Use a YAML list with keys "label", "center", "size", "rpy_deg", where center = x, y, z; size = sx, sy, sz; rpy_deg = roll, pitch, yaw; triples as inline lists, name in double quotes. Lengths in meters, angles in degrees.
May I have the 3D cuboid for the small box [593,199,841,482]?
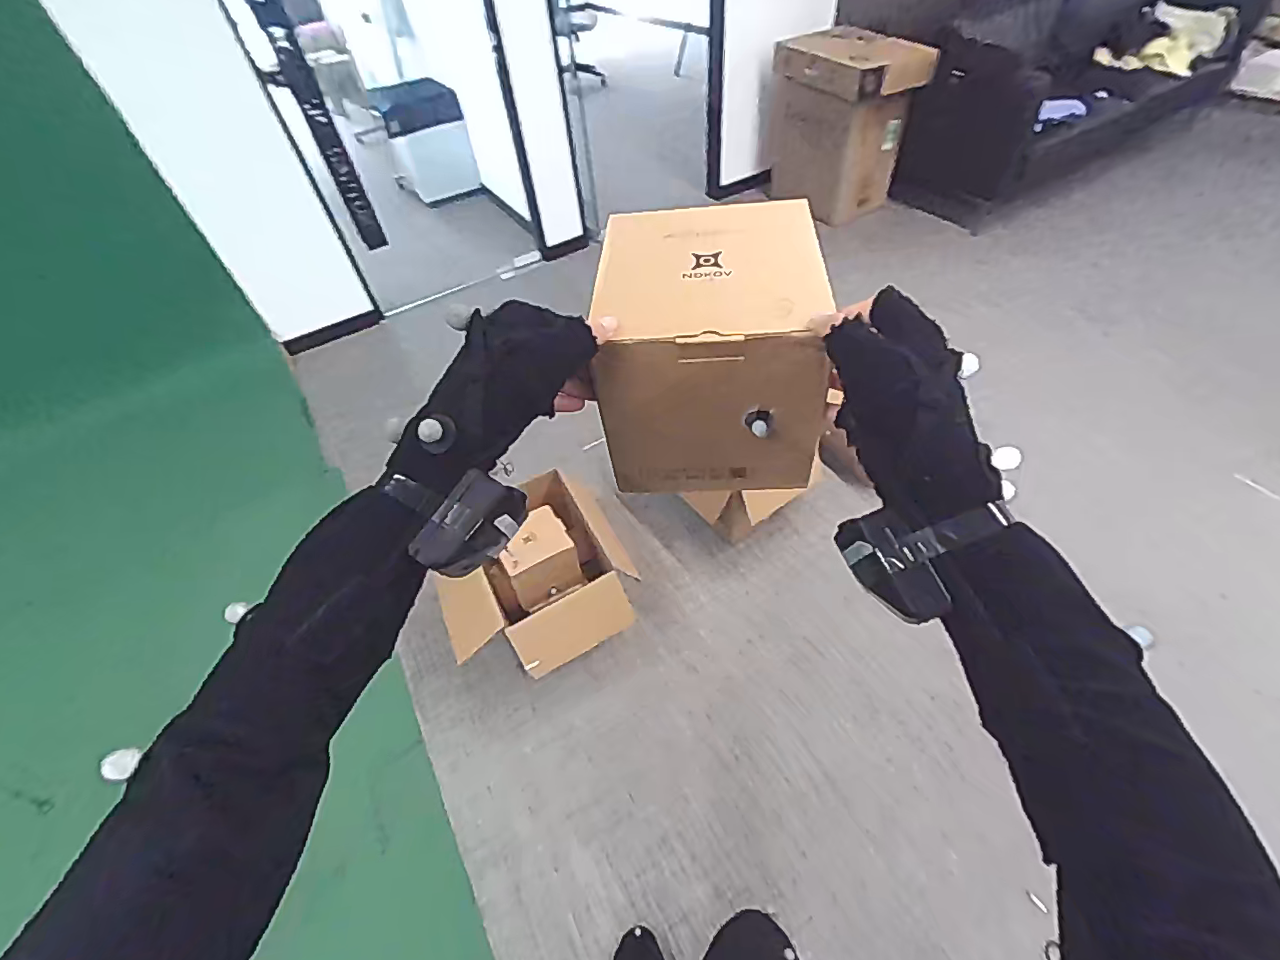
- label: "small box"
  center: [0.064, -0.110, 0.464]
  size: [0.168, 0.176, 0.179]
  rpy_deg: [-1, 52, 7]
